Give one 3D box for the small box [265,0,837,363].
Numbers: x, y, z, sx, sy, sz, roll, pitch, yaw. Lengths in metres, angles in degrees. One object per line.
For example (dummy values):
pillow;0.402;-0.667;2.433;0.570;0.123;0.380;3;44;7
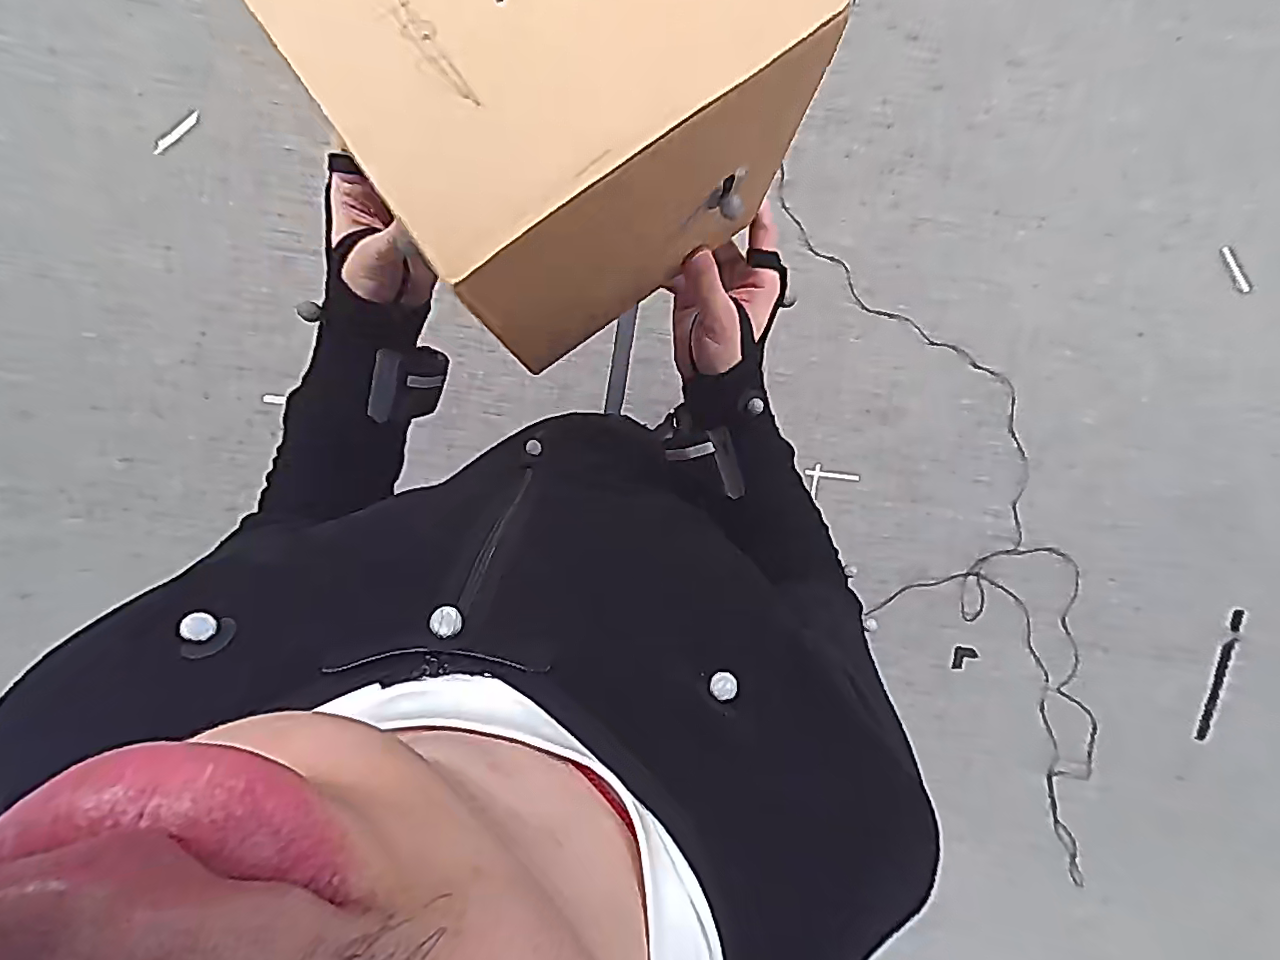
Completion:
small box;-0.042;-0.188;0.280;0.179;0.176;0.168;-36;90;-1
